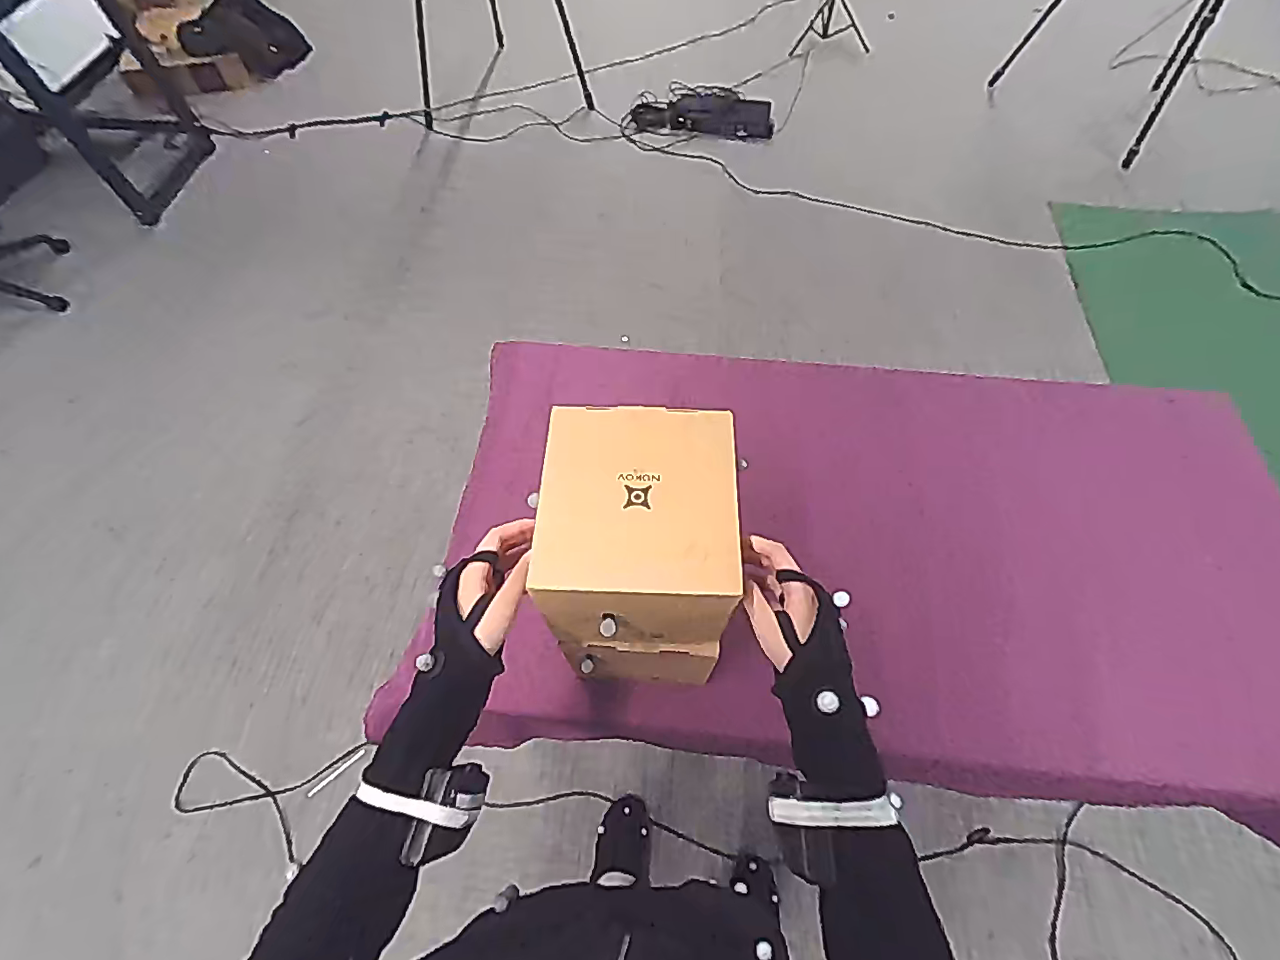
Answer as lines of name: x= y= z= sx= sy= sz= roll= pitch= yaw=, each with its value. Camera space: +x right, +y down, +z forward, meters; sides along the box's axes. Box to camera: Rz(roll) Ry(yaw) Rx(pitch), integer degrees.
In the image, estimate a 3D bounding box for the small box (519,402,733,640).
small box: x=-0.005 y=0.046 z=0.514 sx=0.168 sy=0.176 sz=0.179 roll=2 pitch=59 yaw=1
